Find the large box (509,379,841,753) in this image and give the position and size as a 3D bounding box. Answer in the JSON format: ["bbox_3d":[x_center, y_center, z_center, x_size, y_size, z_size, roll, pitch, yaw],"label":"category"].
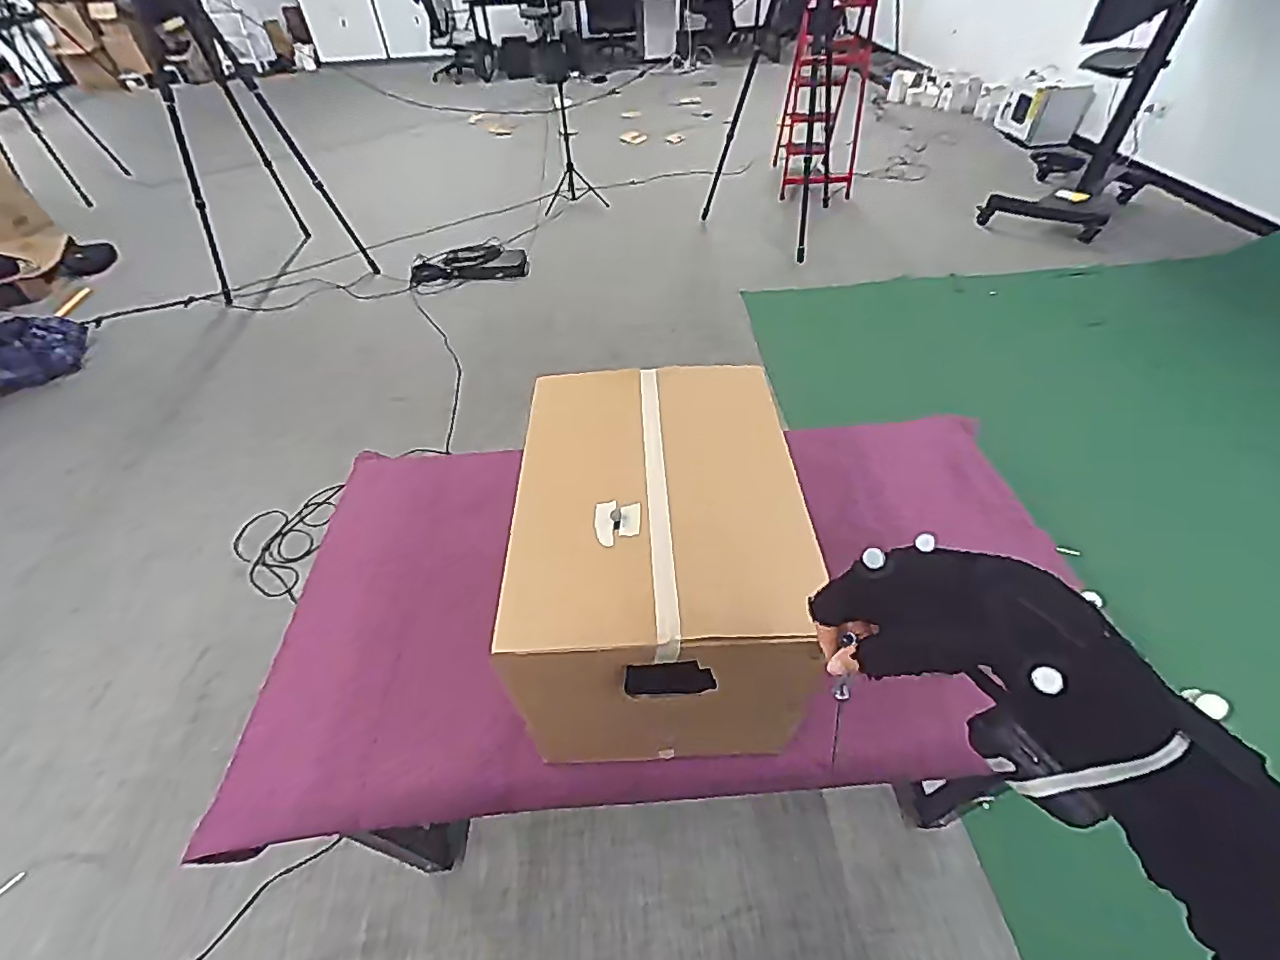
[{"bbox_3d":[0.027,0.108,0.732,0.320,0.320,0.408,-3,48,0],"label":"large box"}]
